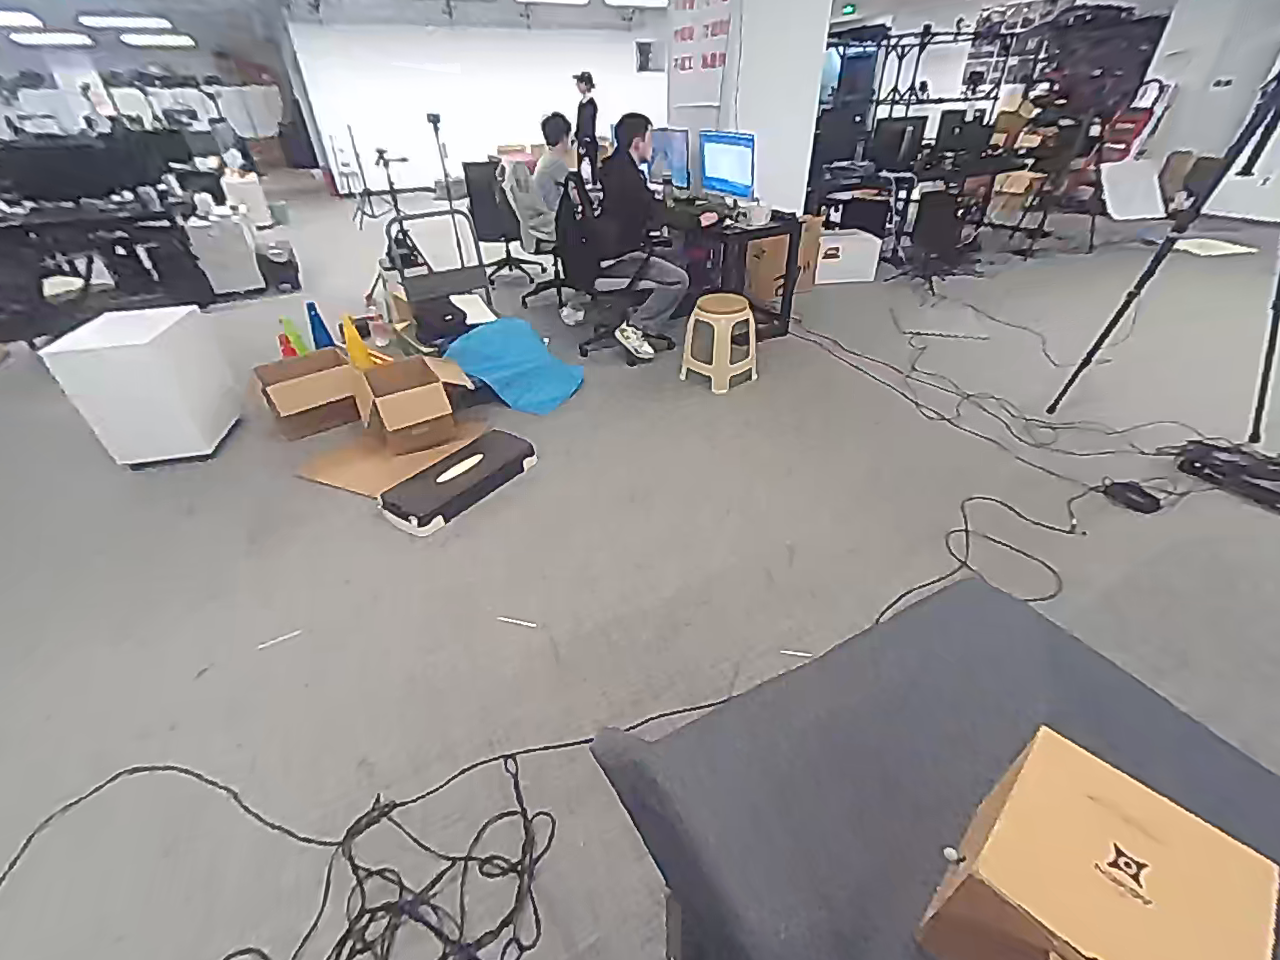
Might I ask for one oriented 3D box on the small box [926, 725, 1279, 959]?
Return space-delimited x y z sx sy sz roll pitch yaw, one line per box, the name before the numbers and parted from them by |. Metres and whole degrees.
small box | 0.371 0.361 0.457 0.179 0.176 0.168 -29 45 -35
